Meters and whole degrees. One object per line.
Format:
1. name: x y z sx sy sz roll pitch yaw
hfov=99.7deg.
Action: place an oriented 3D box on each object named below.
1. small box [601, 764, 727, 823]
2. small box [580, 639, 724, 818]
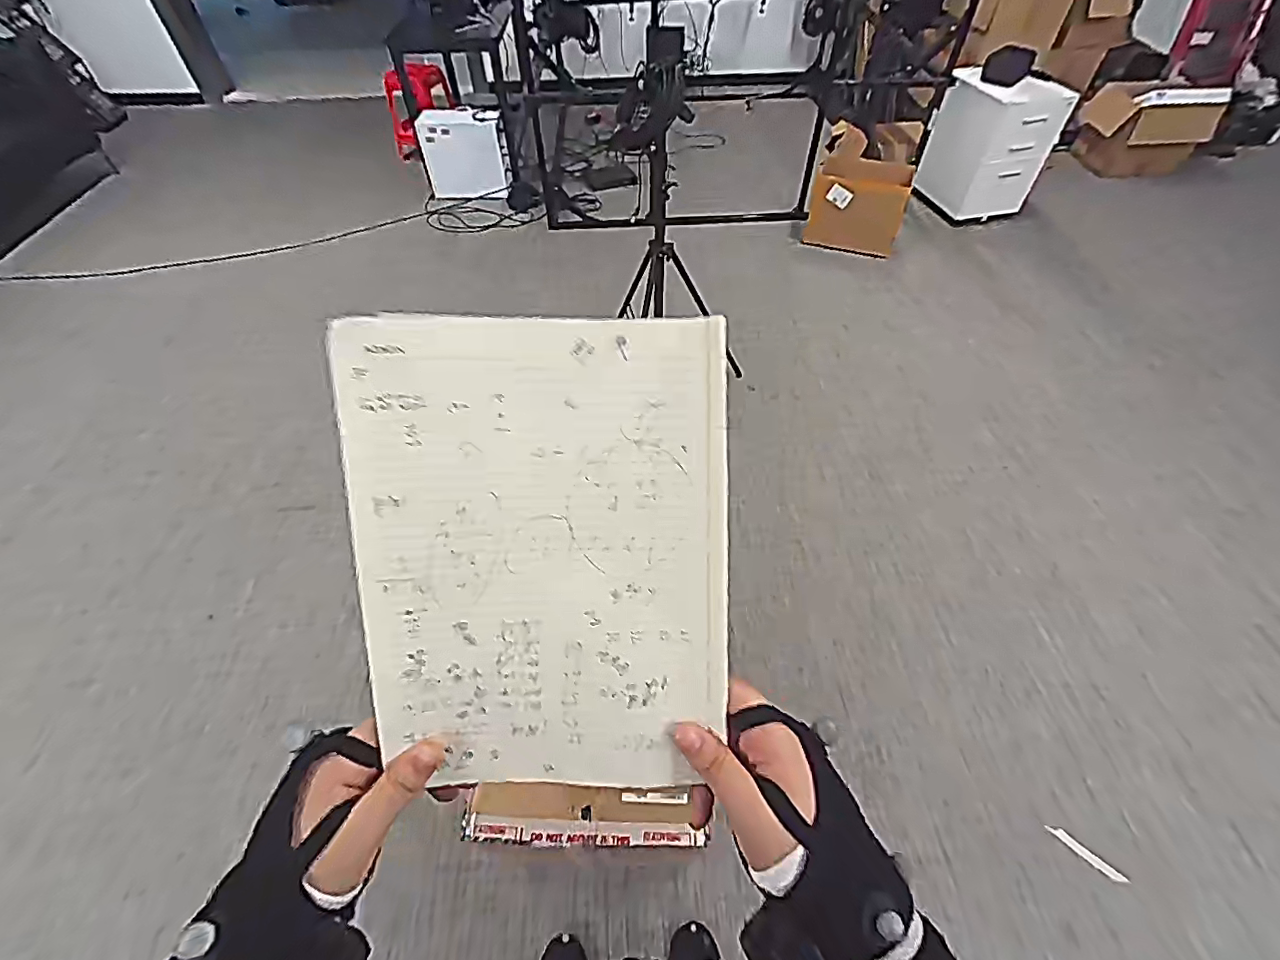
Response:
1. small box: 0.030 0.430 0.846 0.179 0.176 0.168 1 52 -1
2. small box: 0.015 0.330 0.715 0.168 0.176 0.179 4 53 1
